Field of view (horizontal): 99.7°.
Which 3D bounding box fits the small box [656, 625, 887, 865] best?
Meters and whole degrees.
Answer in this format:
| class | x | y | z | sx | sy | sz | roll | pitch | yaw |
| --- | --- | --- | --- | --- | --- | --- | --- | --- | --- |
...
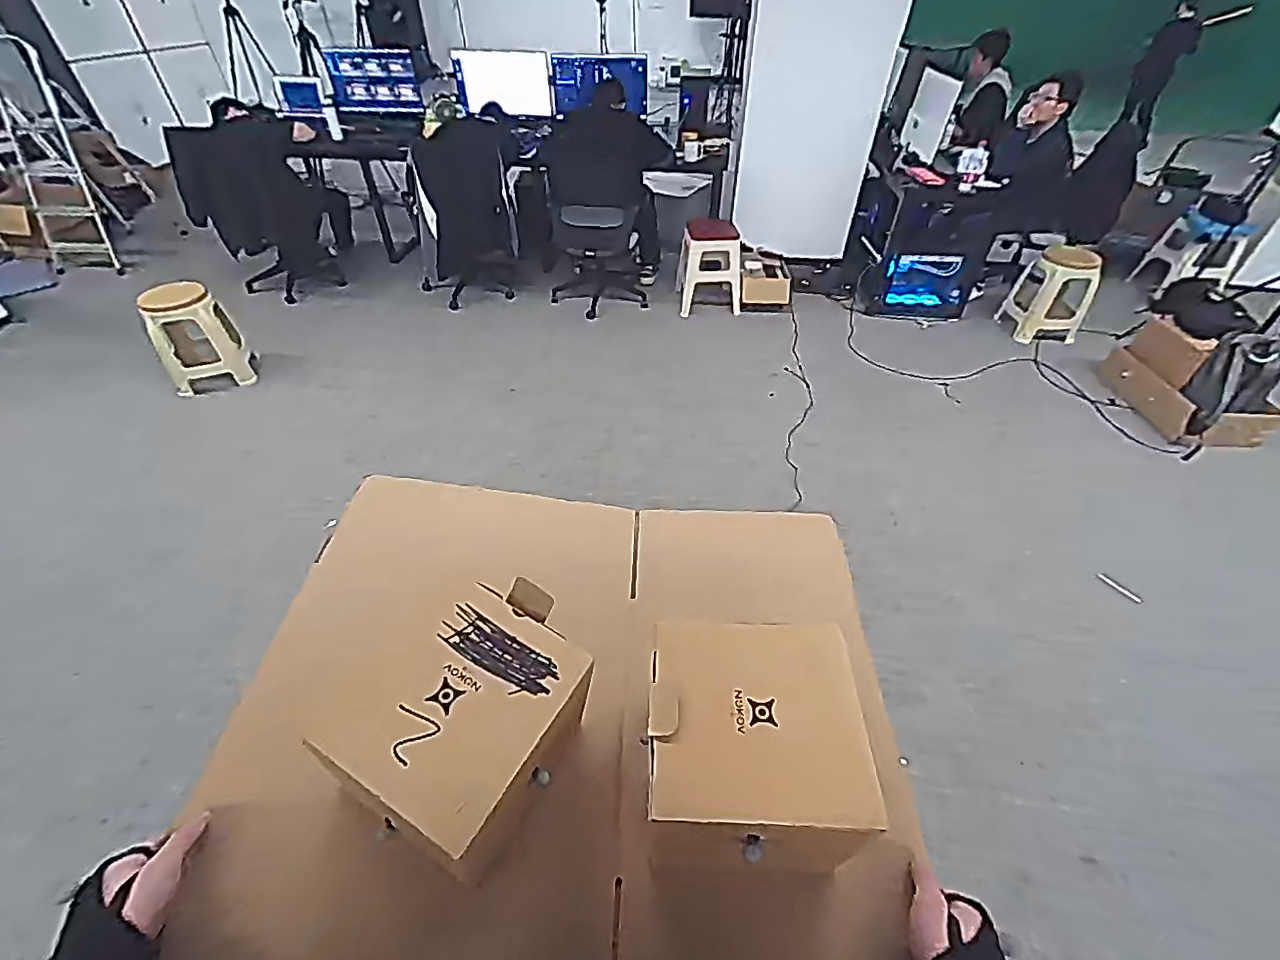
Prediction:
| class | x | y | z | sx | sy | sz | roll | pitch | yaw |
| --- | --- | --- | --- | --- | --- | --- | --- | --- | --- |
| small box | 0.105 | 0.256 | 0.521 | 0.179 | 0.176 | 0.168 | 0 | 46 | 3 |
